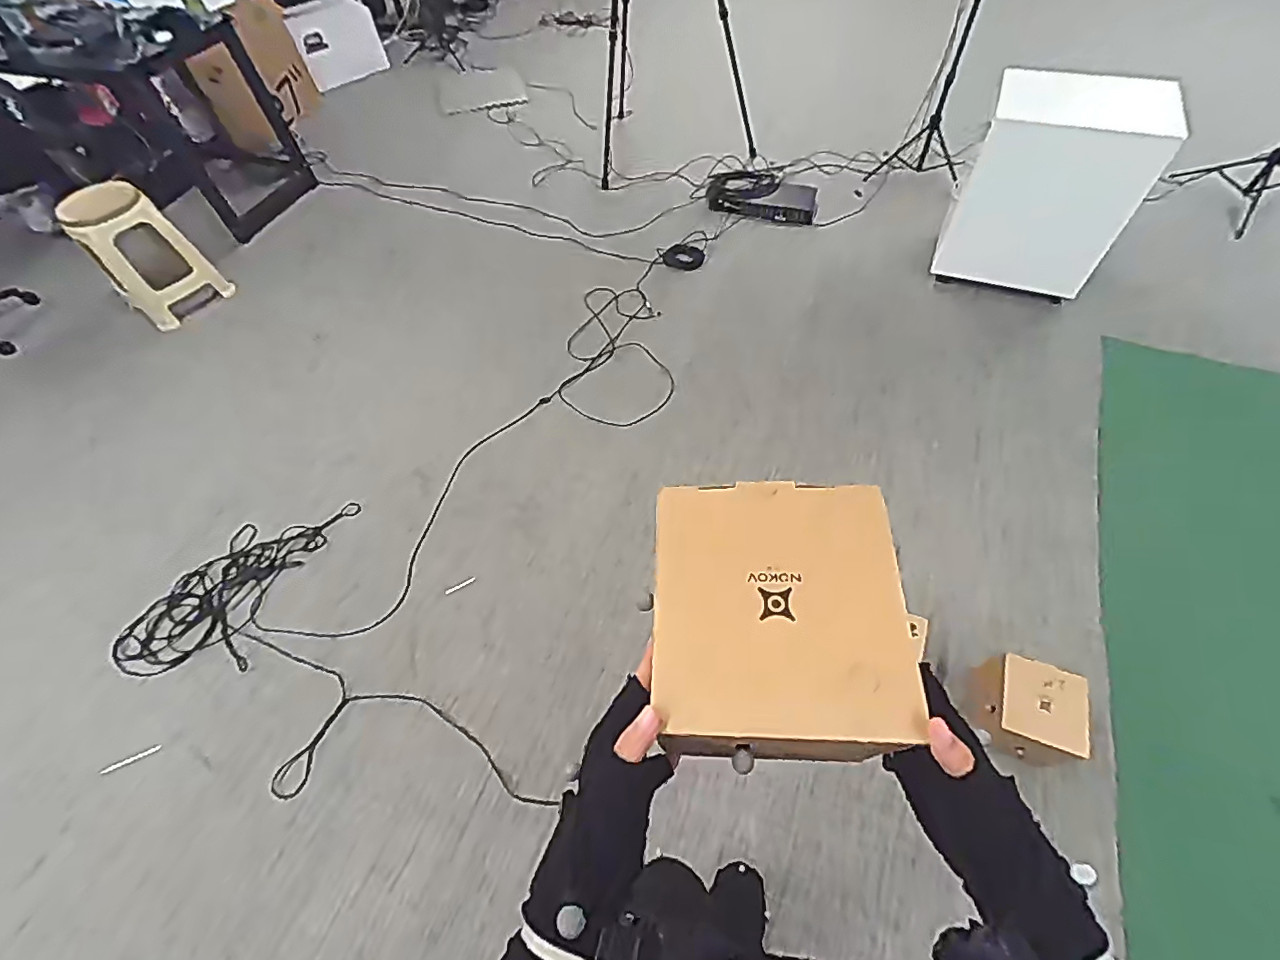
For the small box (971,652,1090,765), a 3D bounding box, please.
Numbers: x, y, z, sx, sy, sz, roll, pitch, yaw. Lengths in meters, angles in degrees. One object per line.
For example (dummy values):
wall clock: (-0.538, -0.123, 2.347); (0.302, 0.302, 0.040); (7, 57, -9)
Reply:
small box: (0.874, 0.521, 1.222); (0.168, 0.176, 0.179); (17, 59, 15)
